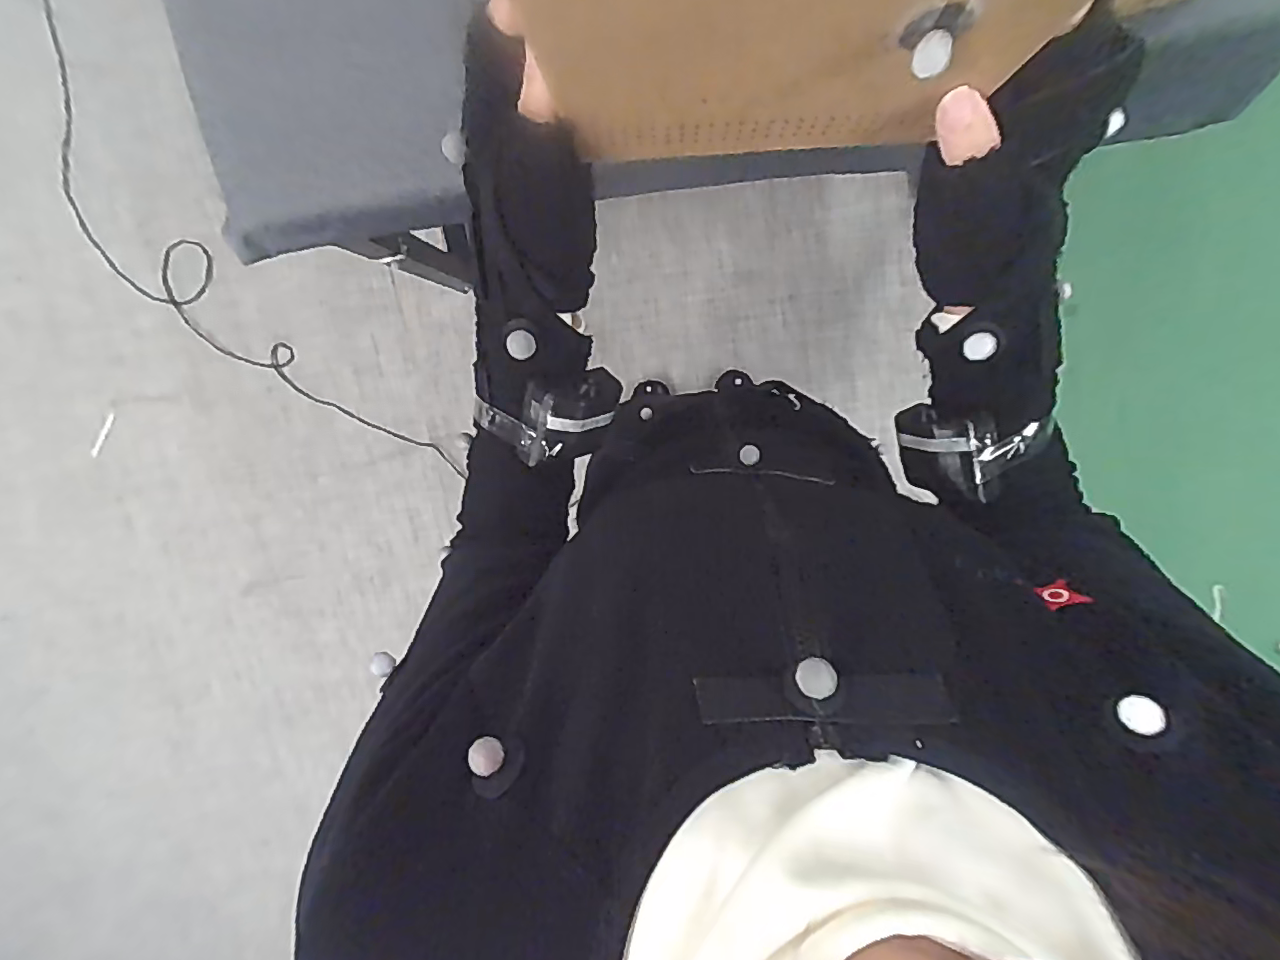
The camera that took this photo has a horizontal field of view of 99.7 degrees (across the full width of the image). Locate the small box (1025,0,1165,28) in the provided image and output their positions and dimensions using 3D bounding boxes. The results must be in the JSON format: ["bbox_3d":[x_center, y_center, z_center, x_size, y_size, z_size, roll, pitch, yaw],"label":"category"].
[{"bbox_3d":[0.469,-0.558,0.486,0.168,0.176,0.179,-13,99,5],"label":"small box"}]

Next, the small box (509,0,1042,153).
[{"bbox_3d":[0.046,-0.231,0.173,0.179,0.176,0.168,-1,98,5],"label":"small box"}]
